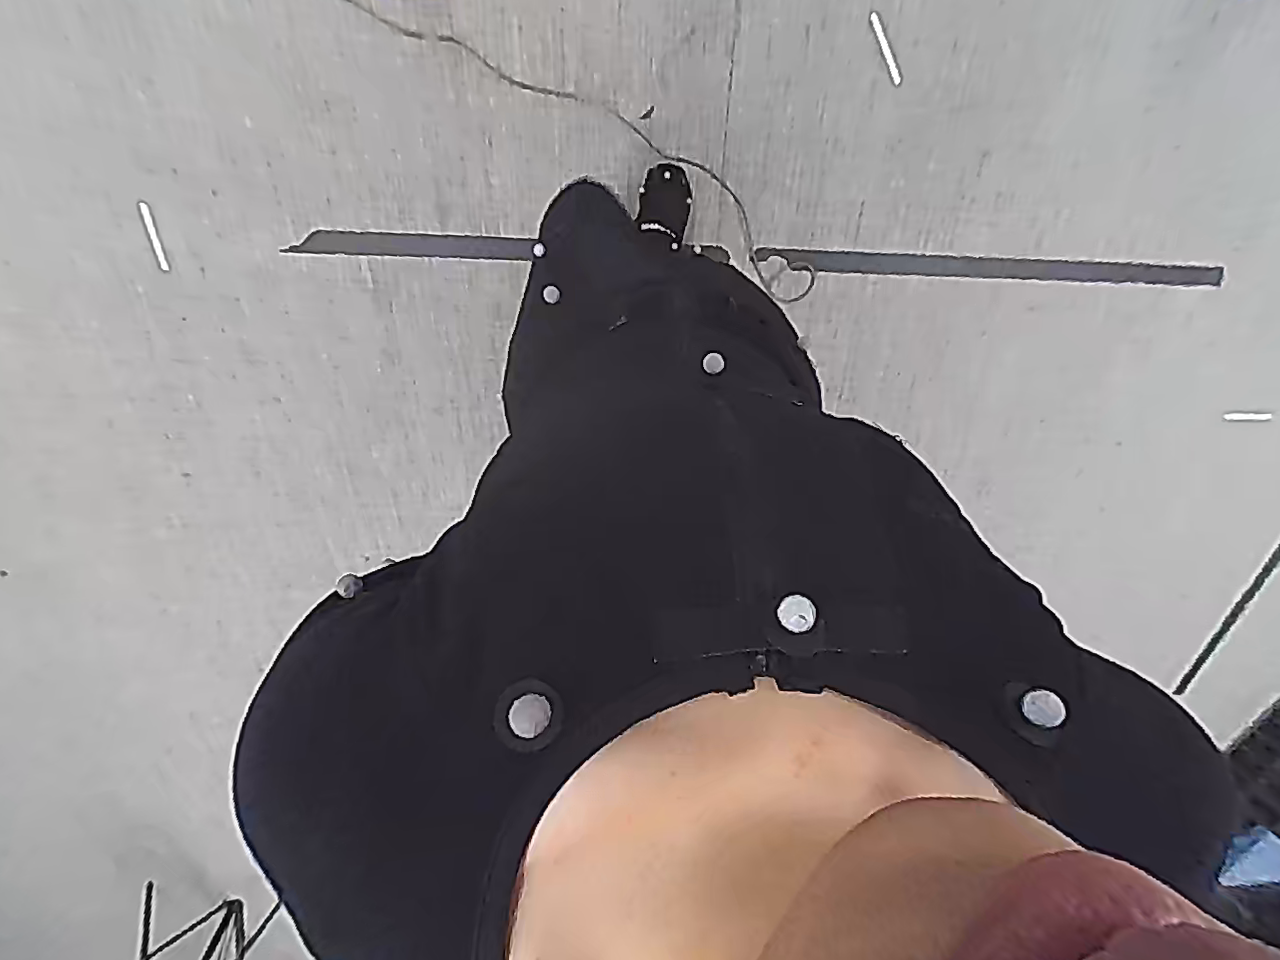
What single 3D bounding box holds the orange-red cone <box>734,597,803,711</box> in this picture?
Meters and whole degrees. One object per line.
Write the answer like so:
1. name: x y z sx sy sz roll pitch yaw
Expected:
1. orange-red cone: 0.435 0.560 1.691 0.199 0.360 0.198 -5 119 -3
